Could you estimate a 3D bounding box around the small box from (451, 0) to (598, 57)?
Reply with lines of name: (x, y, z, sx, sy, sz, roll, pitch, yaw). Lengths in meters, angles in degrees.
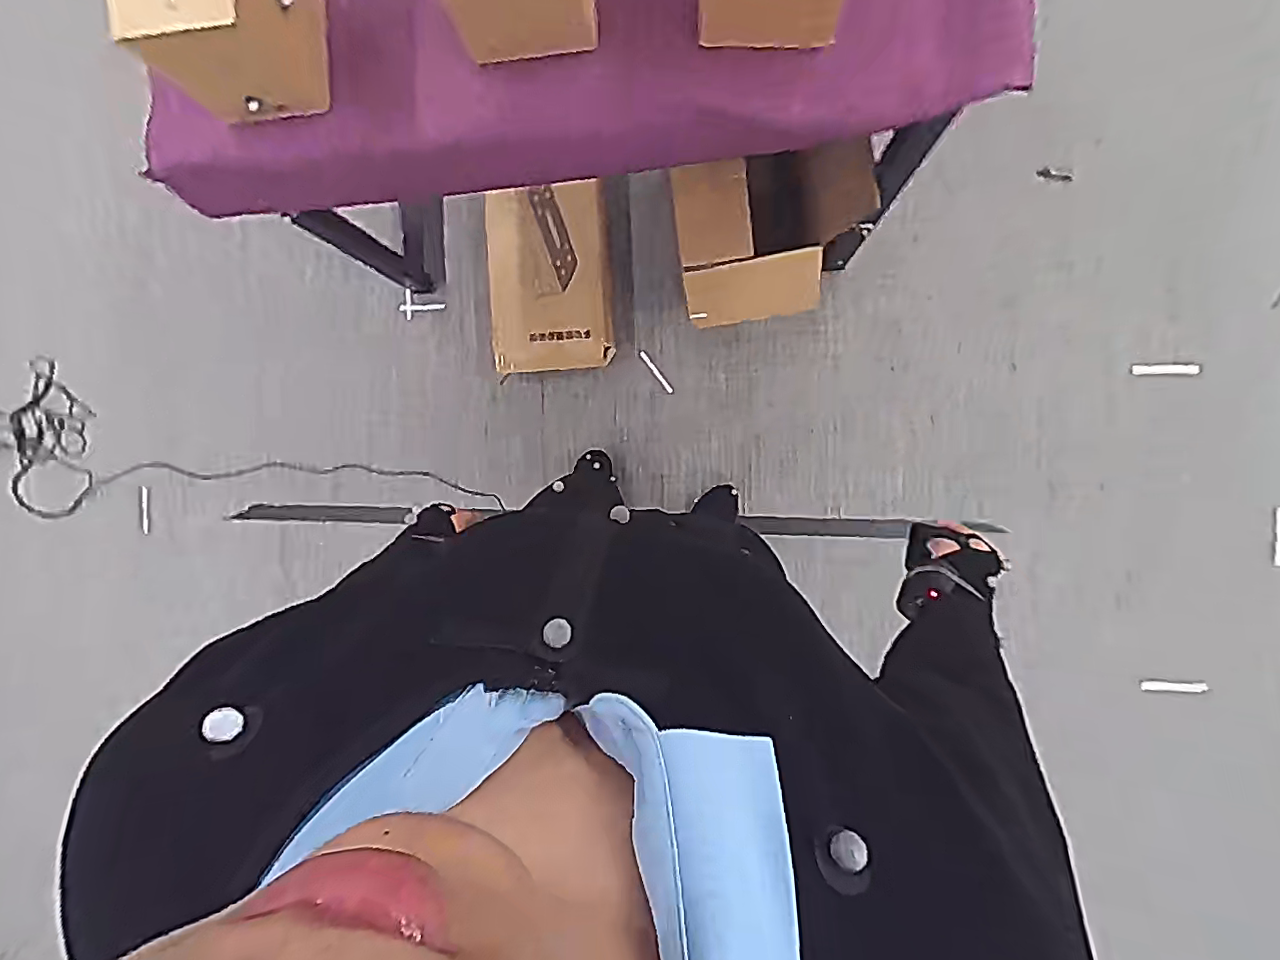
small box: (-0.149, -0.668, 0.663, 0.179, 0.176, 0.168, -2, 90, 6)

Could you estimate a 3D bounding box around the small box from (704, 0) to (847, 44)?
small box: (0.168, -0.654, 0.631, 0.179, 0.176, 0.168, 5, 93, 6)
